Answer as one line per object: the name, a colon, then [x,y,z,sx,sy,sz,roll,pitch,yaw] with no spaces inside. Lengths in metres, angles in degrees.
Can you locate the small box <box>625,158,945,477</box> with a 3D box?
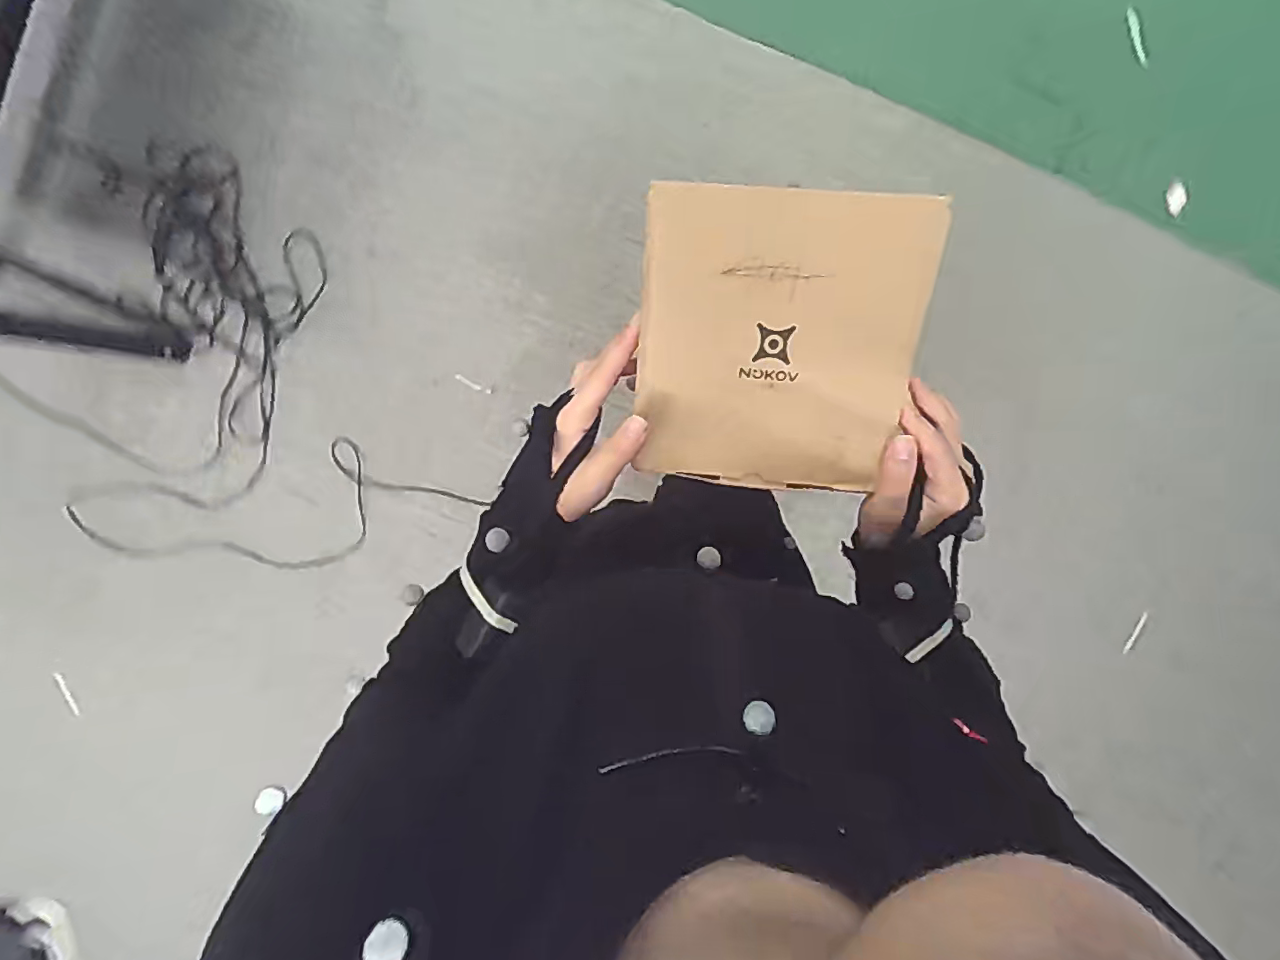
small box: [0.083,-0.117,0.390,0.168,0.176,0.179,4,112,5]
